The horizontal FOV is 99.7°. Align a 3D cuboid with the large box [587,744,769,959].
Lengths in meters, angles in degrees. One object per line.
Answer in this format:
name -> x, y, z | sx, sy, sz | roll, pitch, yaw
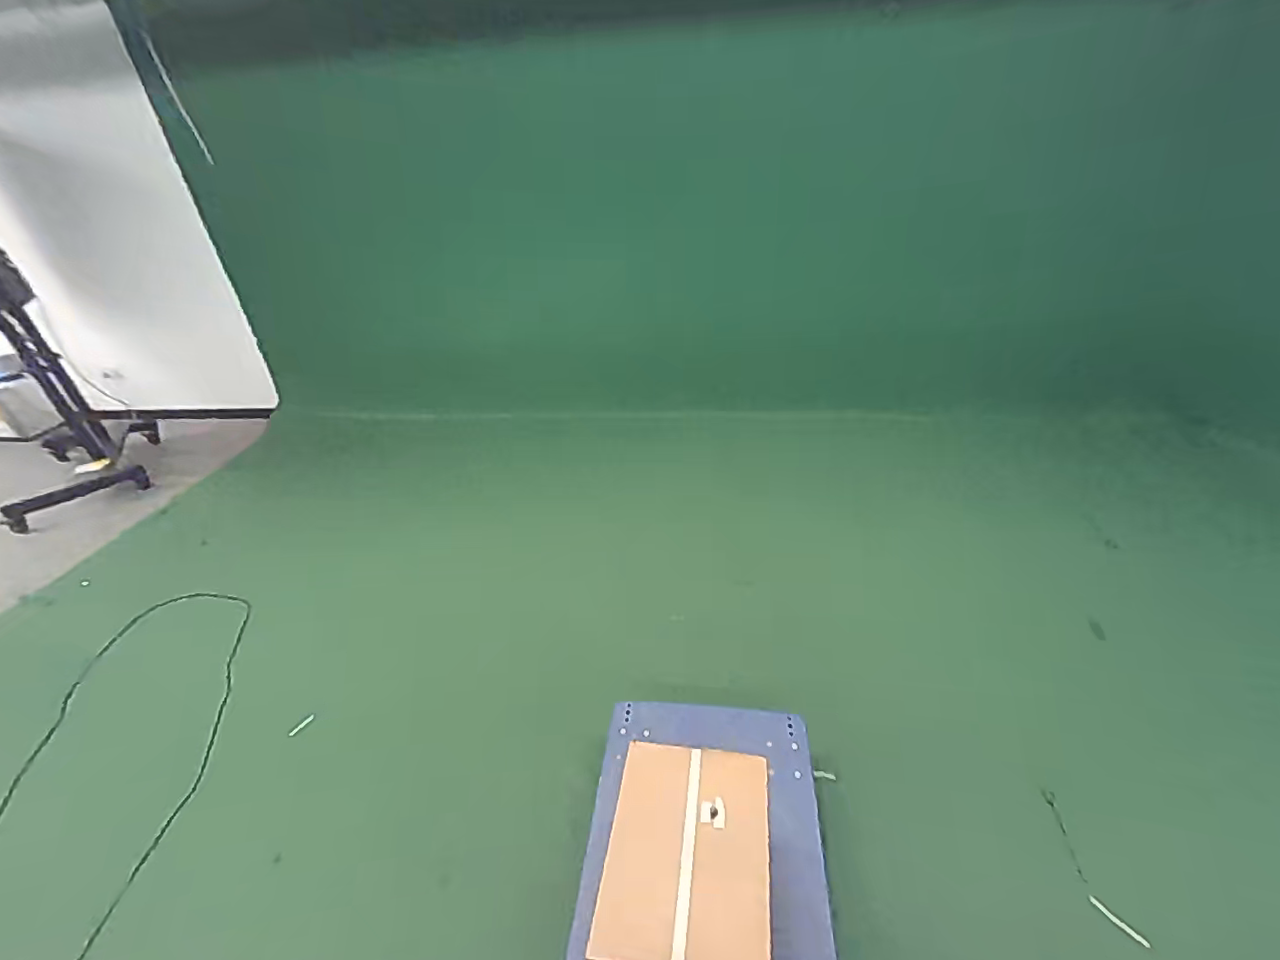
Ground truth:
large box -> 0.099, 0.849, 1.140 | 0.320, 0.320, 0.408 | 3, 32, 10
